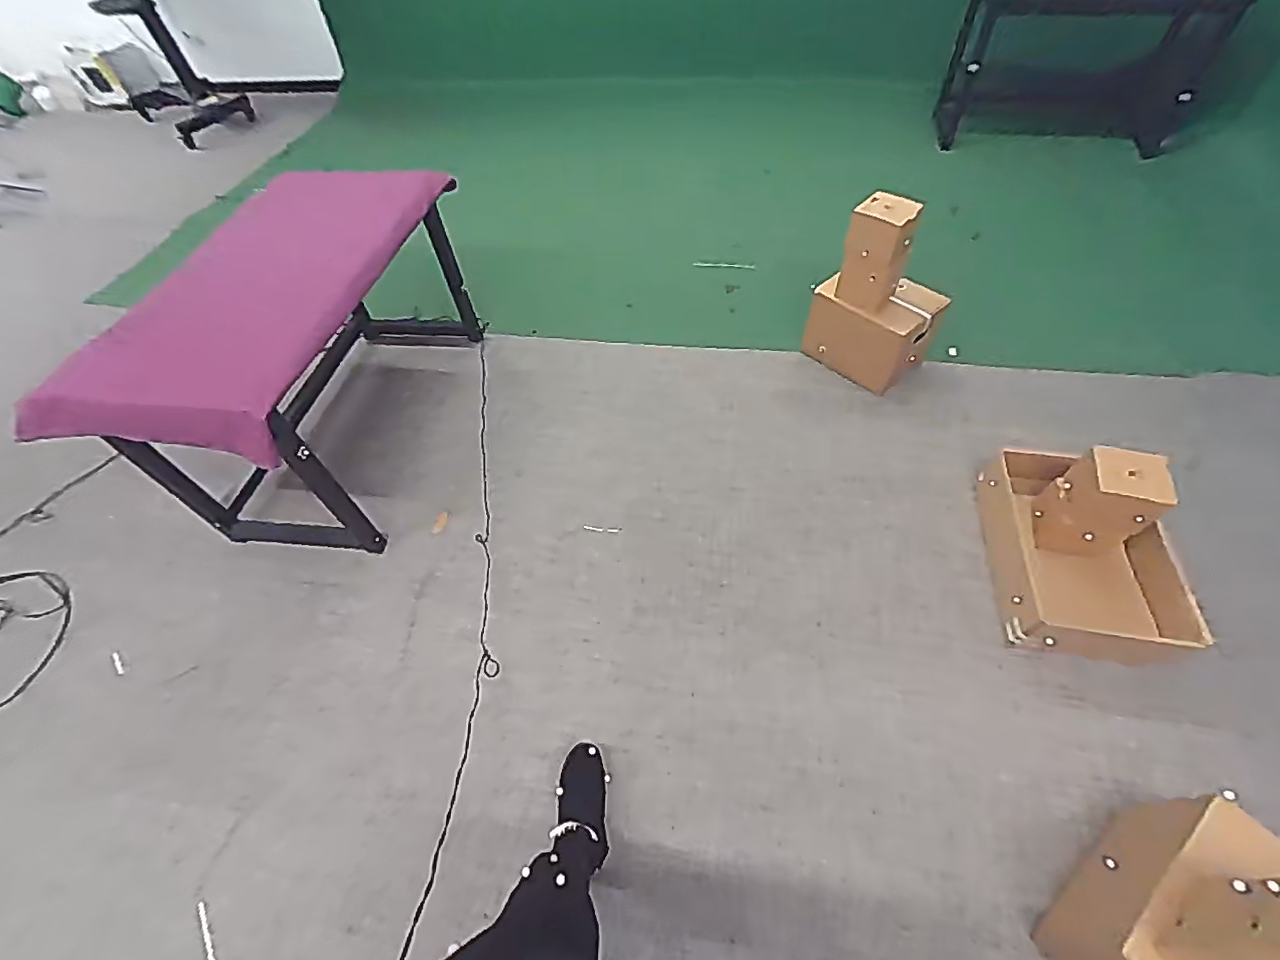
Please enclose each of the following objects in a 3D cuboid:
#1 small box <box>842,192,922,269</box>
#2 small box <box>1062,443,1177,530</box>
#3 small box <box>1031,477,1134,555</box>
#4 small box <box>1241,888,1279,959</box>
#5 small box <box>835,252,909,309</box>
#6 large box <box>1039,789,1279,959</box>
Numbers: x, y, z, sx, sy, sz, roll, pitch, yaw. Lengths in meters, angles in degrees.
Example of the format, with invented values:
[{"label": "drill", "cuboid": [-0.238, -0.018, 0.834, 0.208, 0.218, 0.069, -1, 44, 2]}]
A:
[{"label": "small box", "cuboid": [0.845, -0.871, 1.899, 0.179, 0.176, 0.168, 37, 64, 26]}, {"label": "small box", "cuboid": [1.339, 0.023, 1.523, 0.179, 0.176, 0.168, 12, 58, 14]}, {"label": "small box", "cuboid": [1.347, 0.114, 1.659, 0.179, 0.176, 0.168, 9, 58, 12]}, {"label": "small box", "cuboid": [0.999, 0.674, 0.728, 0.168, 0.176, 0.179, -32, 58, -19]}, {"label": "small box", "cuboid": [0.862, -0.767, 2.025, 0.179, 0.176, 0.168, 35, 63, 26]}, {"label": "large box", "cuboid": [1.103, 0.906, 1.059, 0.408, 0.320, 0.320, -33, 58, -20]}]
